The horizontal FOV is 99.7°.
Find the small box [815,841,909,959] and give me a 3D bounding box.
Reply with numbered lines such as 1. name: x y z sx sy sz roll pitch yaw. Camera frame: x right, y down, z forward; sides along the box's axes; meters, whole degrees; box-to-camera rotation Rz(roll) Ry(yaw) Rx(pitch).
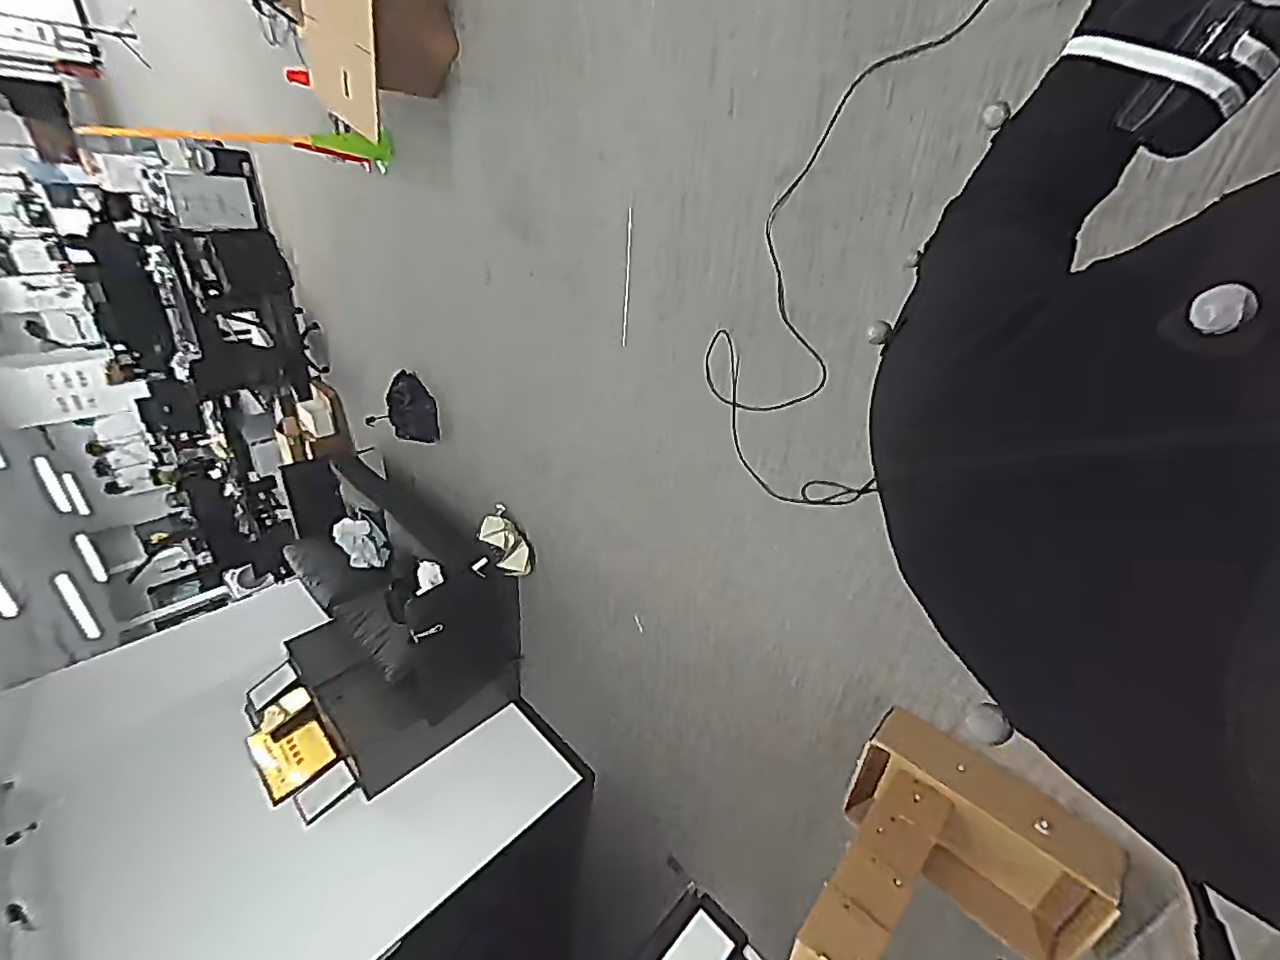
1. small box: 0.603 1.135 1.463 0.168 0.176 0.179 28 126 35

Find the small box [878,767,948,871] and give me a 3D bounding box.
1. small box: 0.835 1.042 1.678 0.168 0.176 0.179 21 123 36

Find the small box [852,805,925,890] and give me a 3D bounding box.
1. small box: 0.701 1.095 1.566 0.168 0.176 0.179 26 125 35
